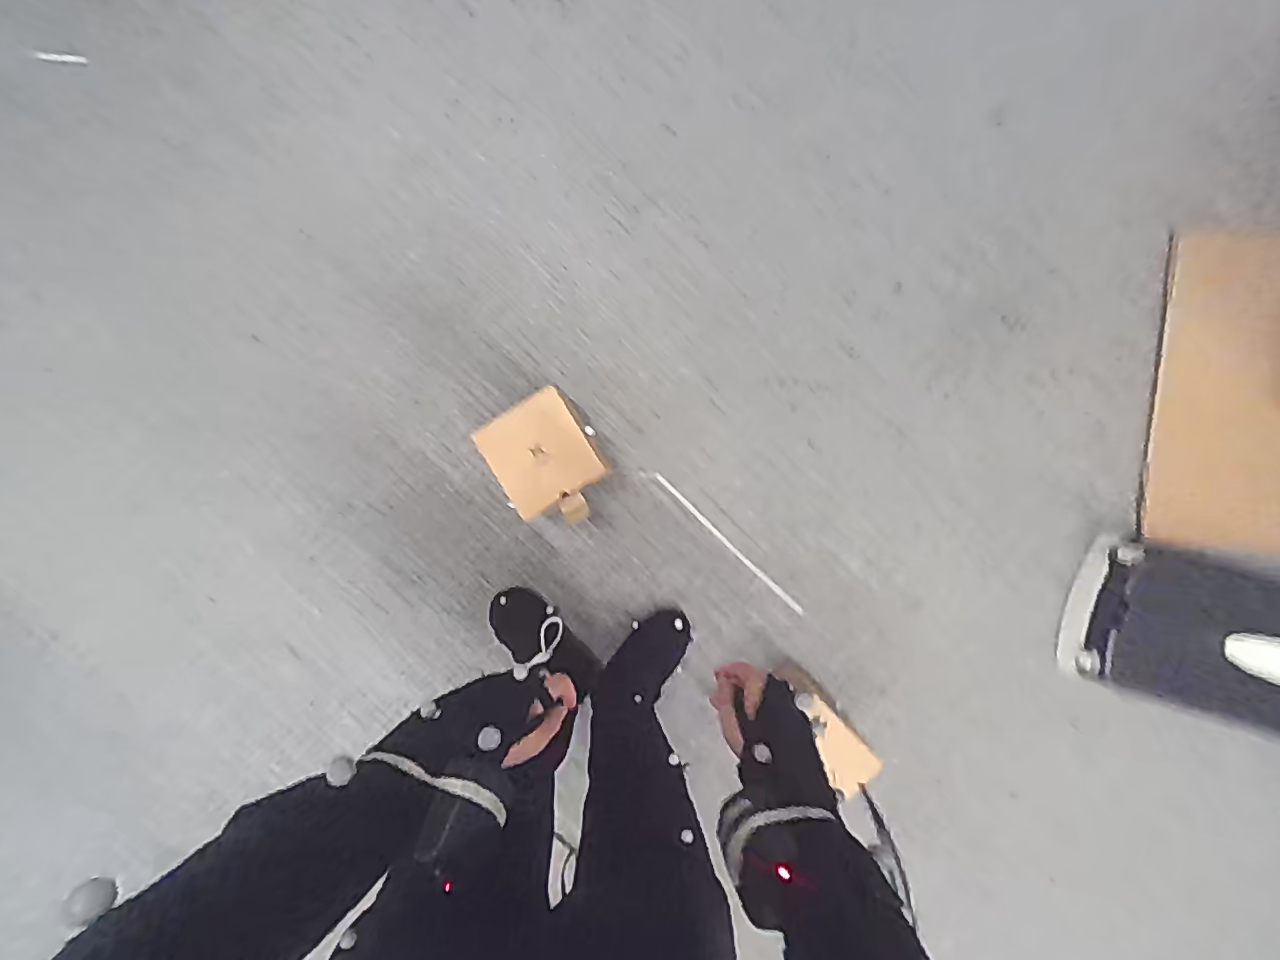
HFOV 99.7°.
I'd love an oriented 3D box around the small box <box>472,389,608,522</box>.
[{"bbox_3d":[-0.173,-0.042,0.988,0.168,0.176,0.179,-32,92,1],"label":"small box"}]
